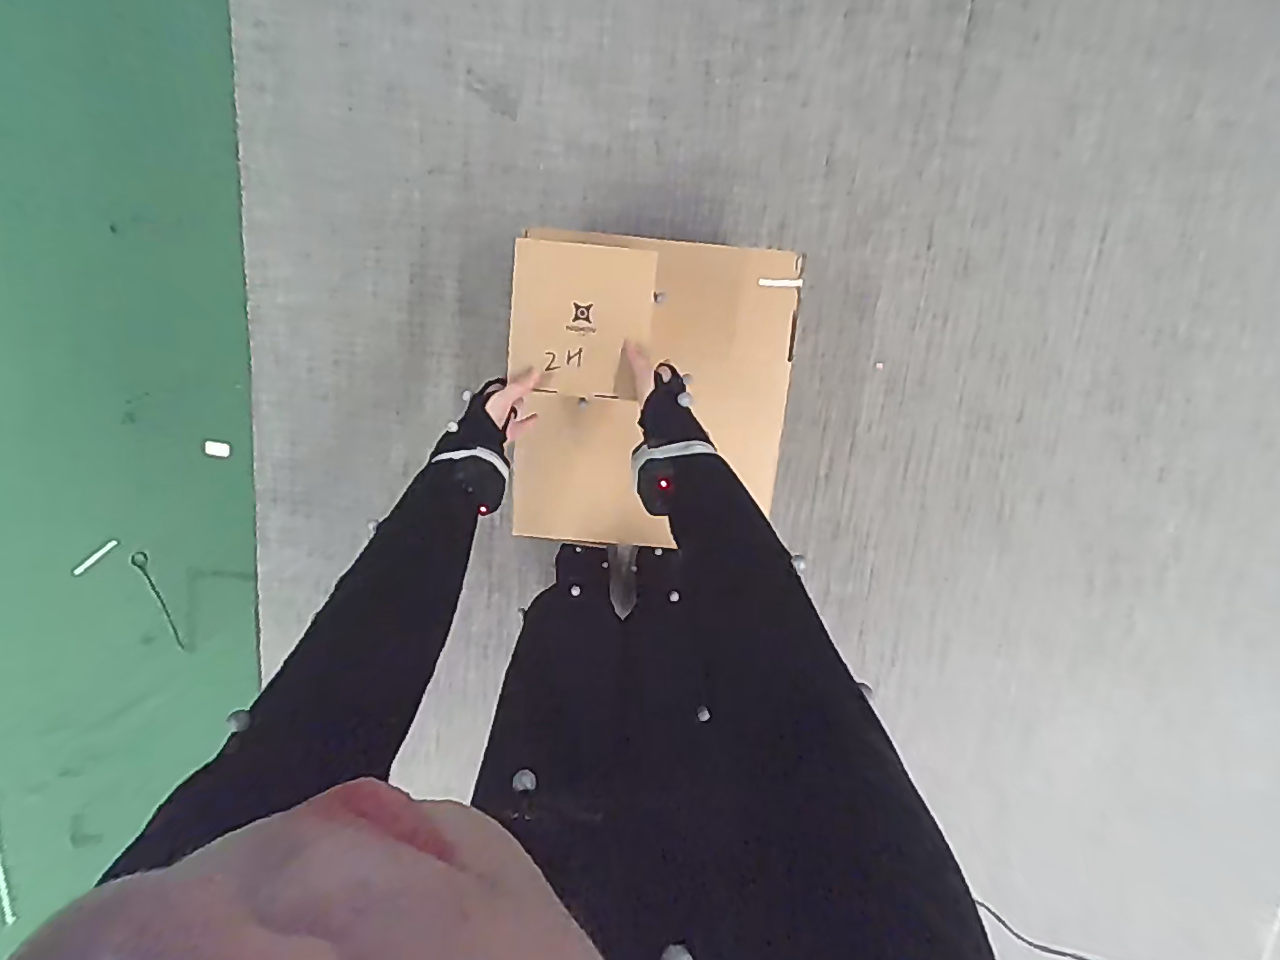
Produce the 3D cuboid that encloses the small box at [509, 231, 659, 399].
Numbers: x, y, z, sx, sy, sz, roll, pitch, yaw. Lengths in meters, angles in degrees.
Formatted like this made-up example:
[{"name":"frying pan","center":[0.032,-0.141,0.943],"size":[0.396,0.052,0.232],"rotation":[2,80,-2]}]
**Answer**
[{"name":"small box","center":[-0.068,-0.203,0.713],"size":[0.168,0.176,0.179],"rotation":[5,97,-1]}]
